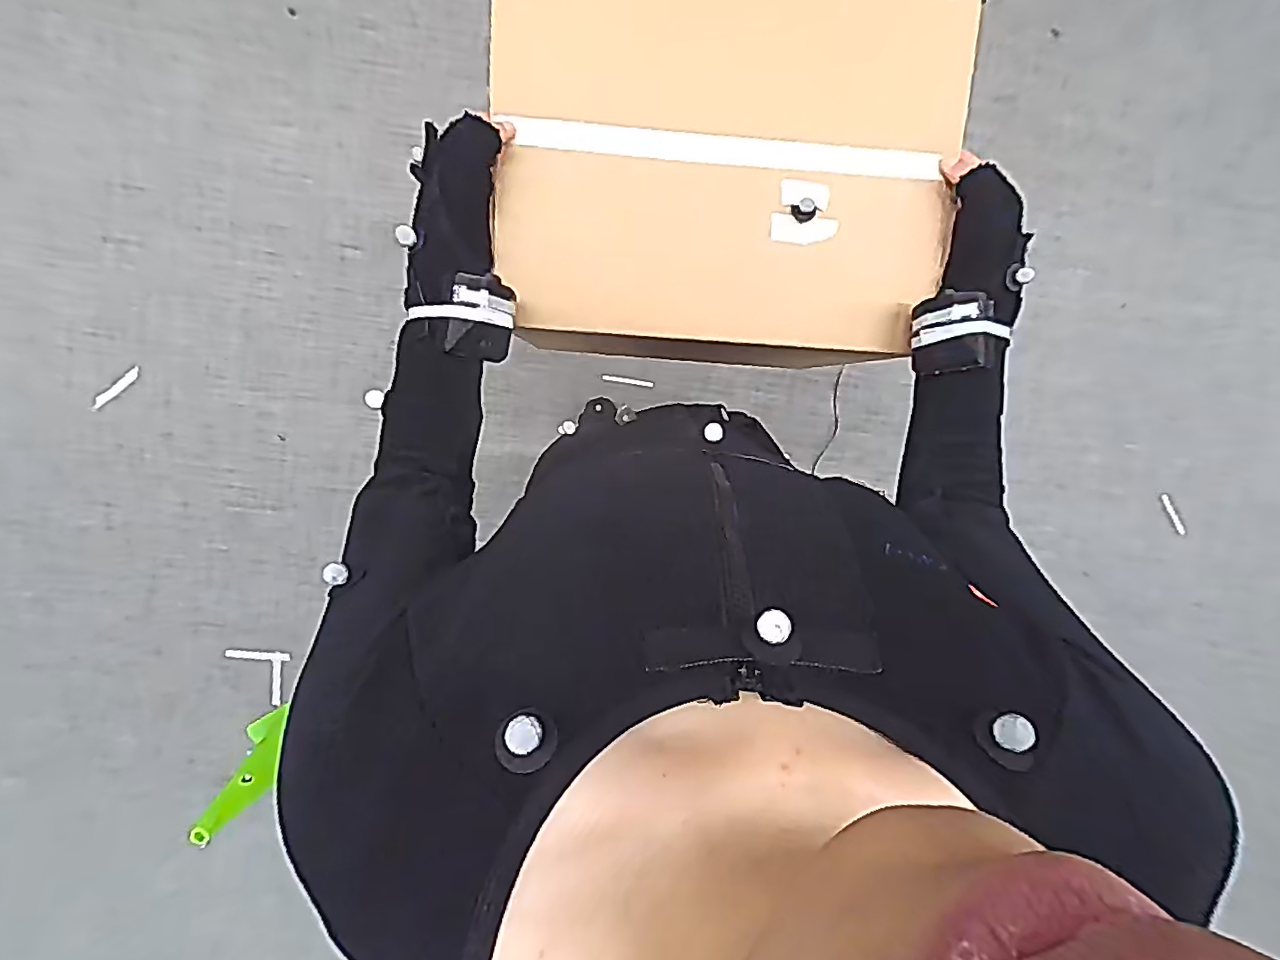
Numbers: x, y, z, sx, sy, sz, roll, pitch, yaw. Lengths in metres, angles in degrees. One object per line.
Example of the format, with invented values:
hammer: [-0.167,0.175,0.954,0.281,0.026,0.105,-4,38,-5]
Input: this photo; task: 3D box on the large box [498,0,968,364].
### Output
large box: [0.066,-0.306,0.615,0.408,0.320,0.320,3,99,-5]

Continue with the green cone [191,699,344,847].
green cone: [-0.964,0.760,1.363,0.202,0.368,0.200,-30,97,3]
